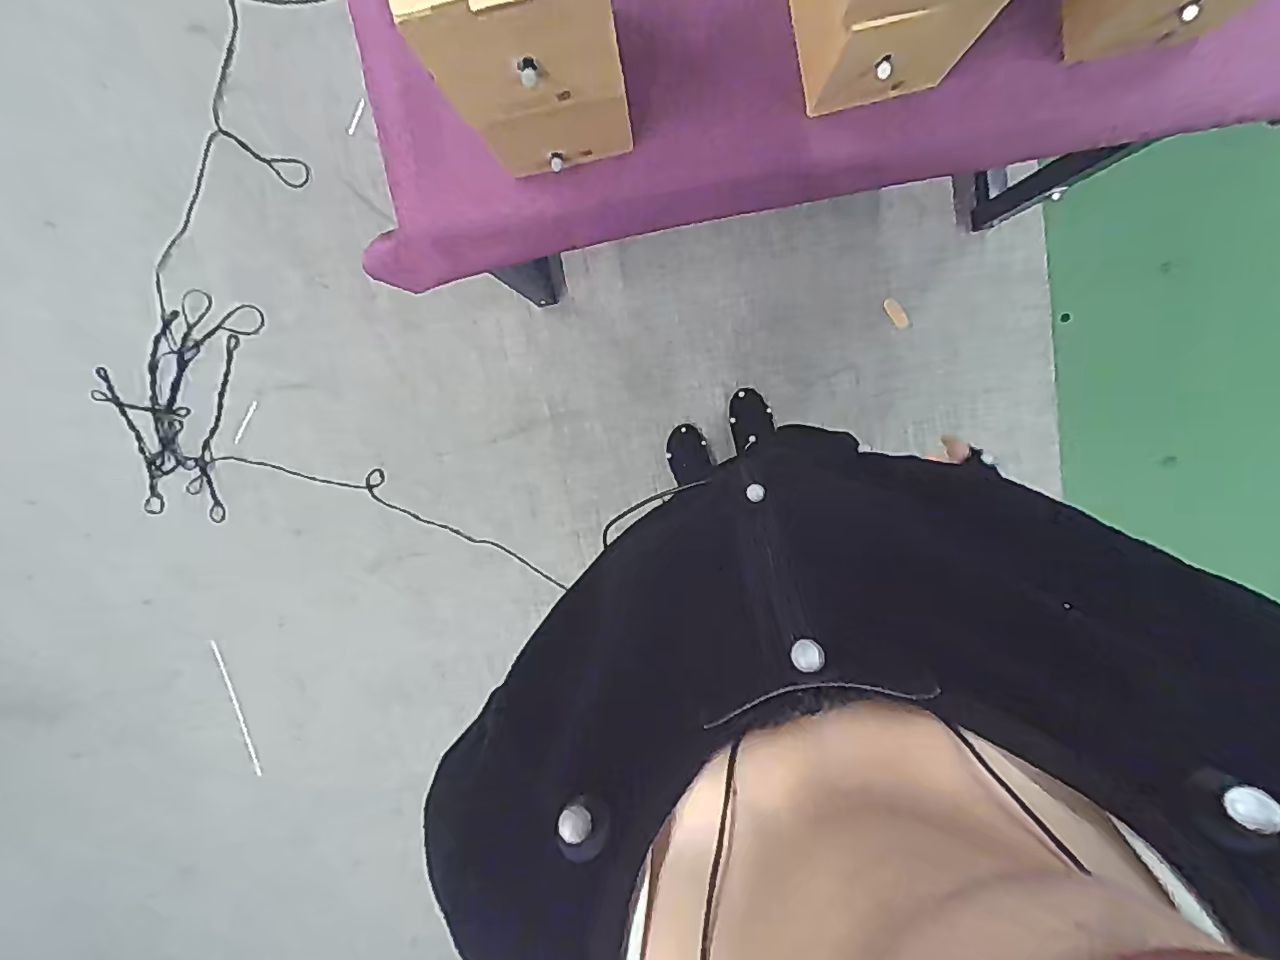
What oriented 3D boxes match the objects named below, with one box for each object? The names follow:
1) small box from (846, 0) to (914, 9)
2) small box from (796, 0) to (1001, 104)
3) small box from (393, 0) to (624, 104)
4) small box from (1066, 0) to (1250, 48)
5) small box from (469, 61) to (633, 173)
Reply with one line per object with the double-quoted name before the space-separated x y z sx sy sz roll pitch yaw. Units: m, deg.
"small box" 0.267 -0.529 0.431 0.179 0.176 0.168 -7 97 4
"small box" 0.277 -0.552 0.593 0.168 0.176 0.179 -11 96 5
"small box" -0.112 -0.459 0.462 0.168 0.176 0.179 -9 99 5
"small box" 0.588 -0.598 0.567 0.168 0.176 0.179 -7 97 4
"small box" -0.106 -0.493 0.623 0.168 0.176 0.179 -11 98 5
